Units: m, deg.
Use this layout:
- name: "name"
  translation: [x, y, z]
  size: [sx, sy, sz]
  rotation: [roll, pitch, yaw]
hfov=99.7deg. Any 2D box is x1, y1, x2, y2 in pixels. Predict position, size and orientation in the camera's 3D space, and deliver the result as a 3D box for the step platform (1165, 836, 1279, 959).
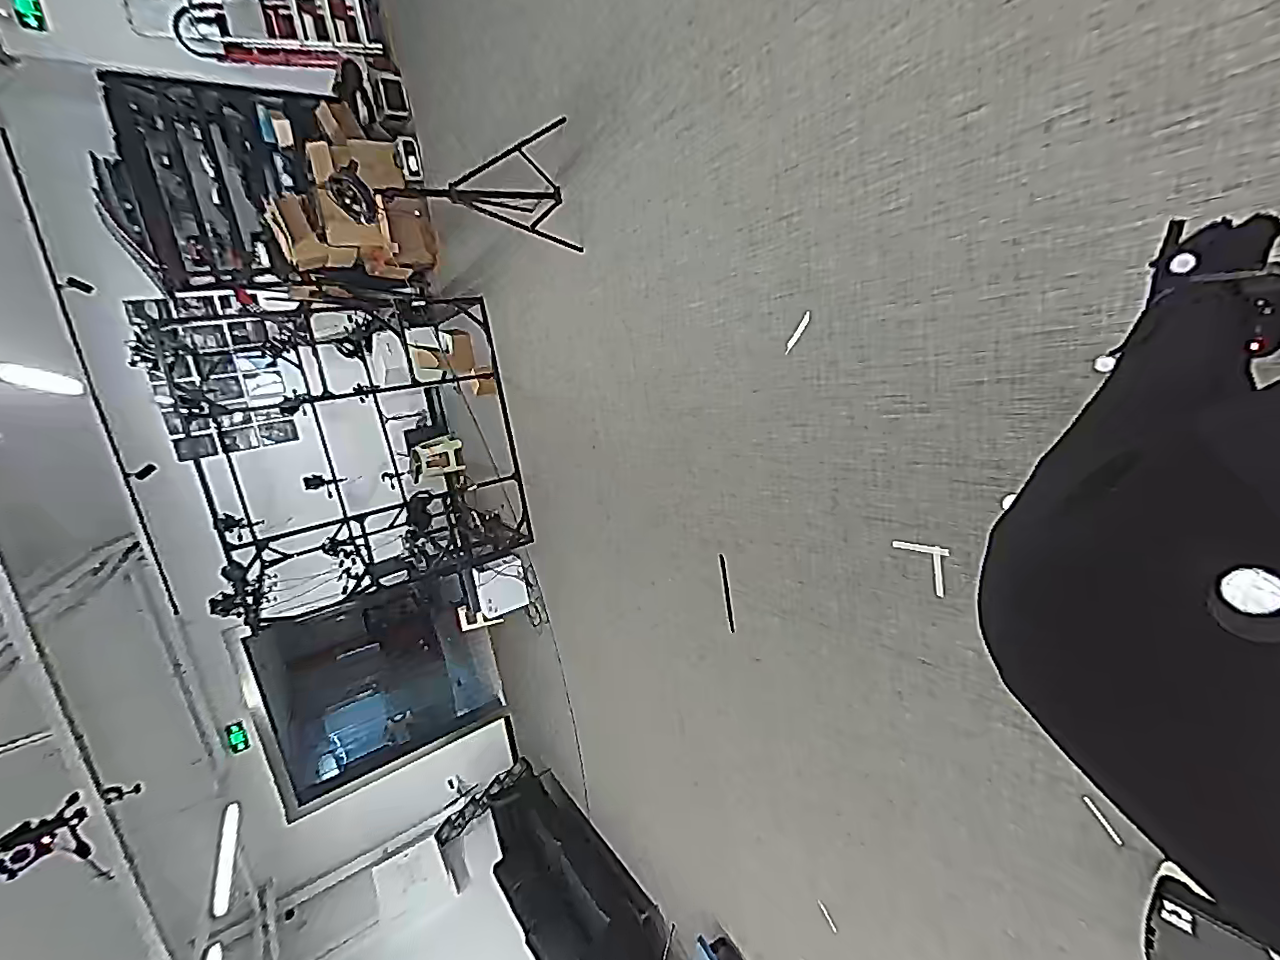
- name: "step platform"
  translation: [1.395, 0.983, 0.945]
  size: [0.684, 0.204, 0.286]
  rotation: [9, 111, 58]
